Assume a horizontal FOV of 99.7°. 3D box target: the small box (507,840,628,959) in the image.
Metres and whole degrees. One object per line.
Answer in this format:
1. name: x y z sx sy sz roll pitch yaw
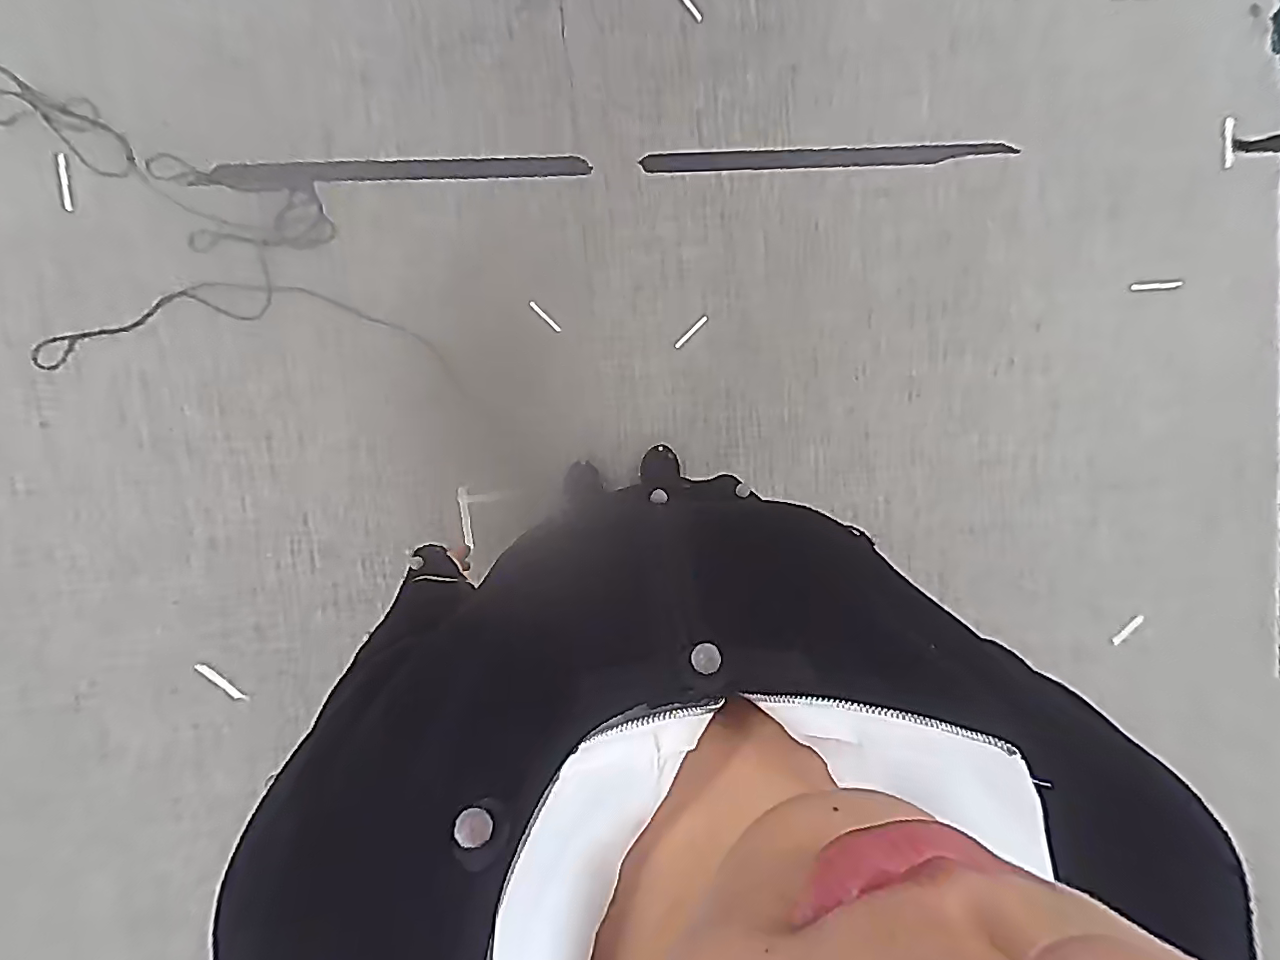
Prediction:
1. small box: -0.104 0.699 0.827 0.168 0.176 0.179 -5 92 -6
